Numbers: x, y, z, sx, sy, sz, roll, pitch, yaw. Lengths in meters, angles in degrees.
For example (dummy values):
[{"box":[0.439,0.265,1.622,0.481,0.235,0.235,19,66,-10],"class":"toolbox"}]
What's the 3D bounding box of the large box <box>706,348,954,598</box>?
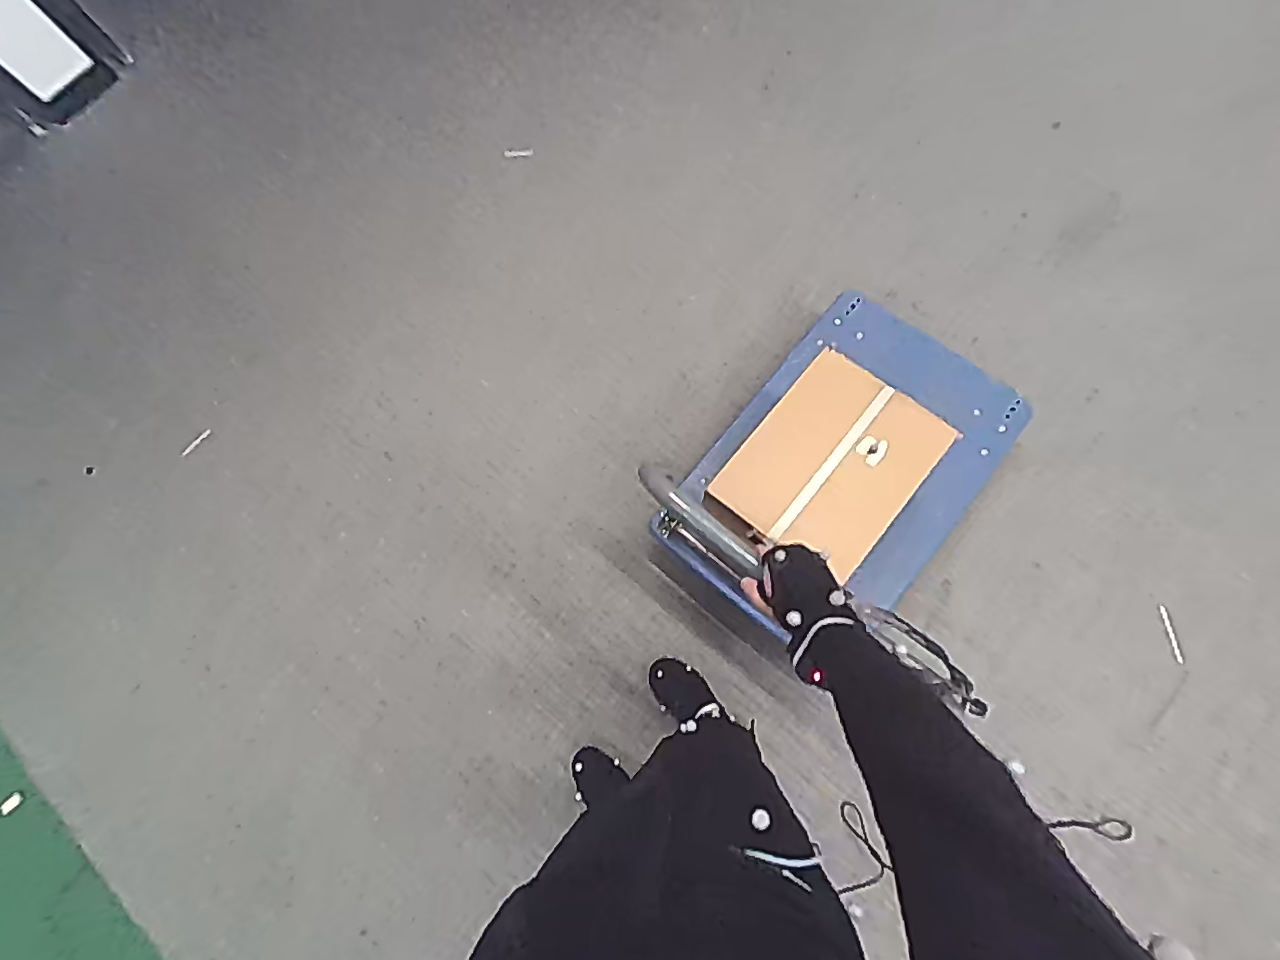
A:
[{"box":[0.389,0.003,1.204,0.320,0.320,0.408,39,80,13],"class":"large box"}]
